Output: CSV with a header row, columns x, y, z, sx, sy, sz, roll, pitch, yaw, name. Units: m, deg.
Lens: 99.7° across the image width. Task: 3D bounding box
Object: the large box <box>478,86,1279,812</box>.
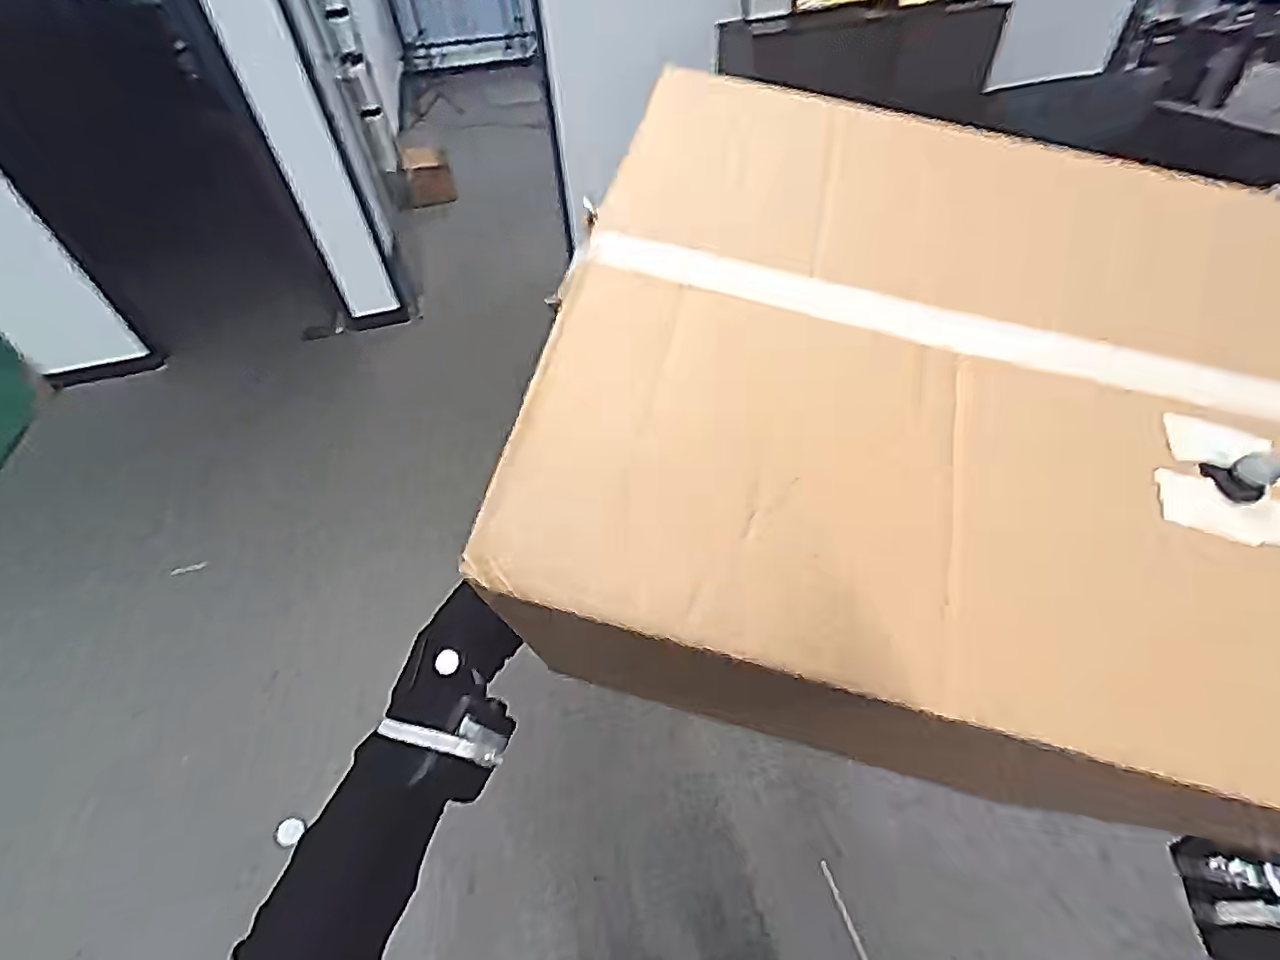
x,y,z,sx,sy,sz,roll,pitch,yaw,name
0.154,0.007,0.383,0.408,0.320,0.320,14,66,3,large box
